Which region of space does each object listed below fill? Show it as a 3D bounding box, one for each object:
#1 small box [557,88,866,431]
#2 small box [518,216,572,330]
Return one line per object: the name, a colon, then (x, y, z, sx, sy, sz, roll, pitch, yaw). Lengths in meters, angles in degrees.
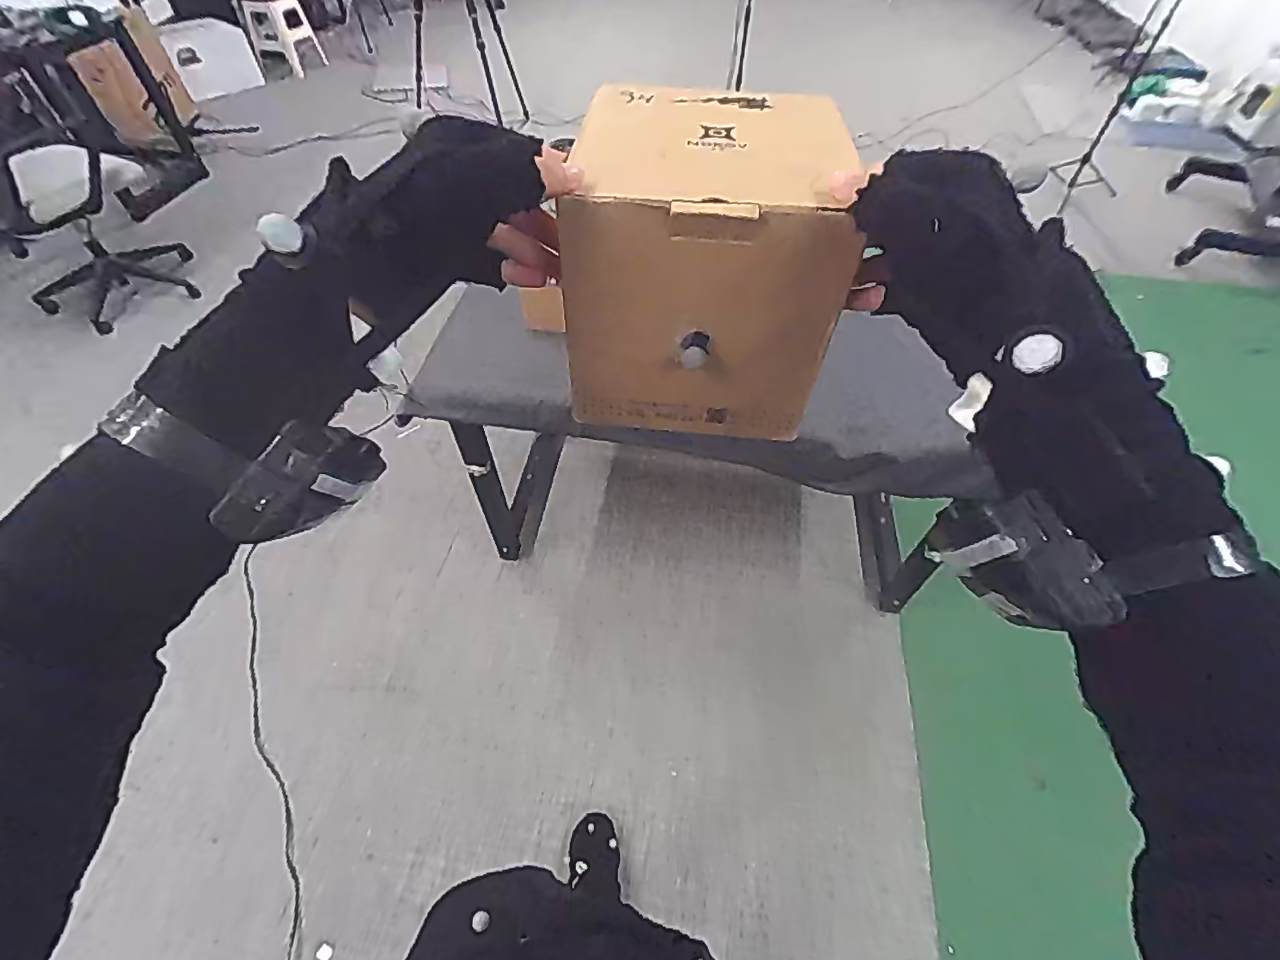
small box: (0.044, -0.155, 0.395, 0.168, 0.176, 0.179, 6, 52, 2)
small box: (-0.141, -0.430, 1.140, 0.179, 0.176, 0.168, 6, 52, 2)
